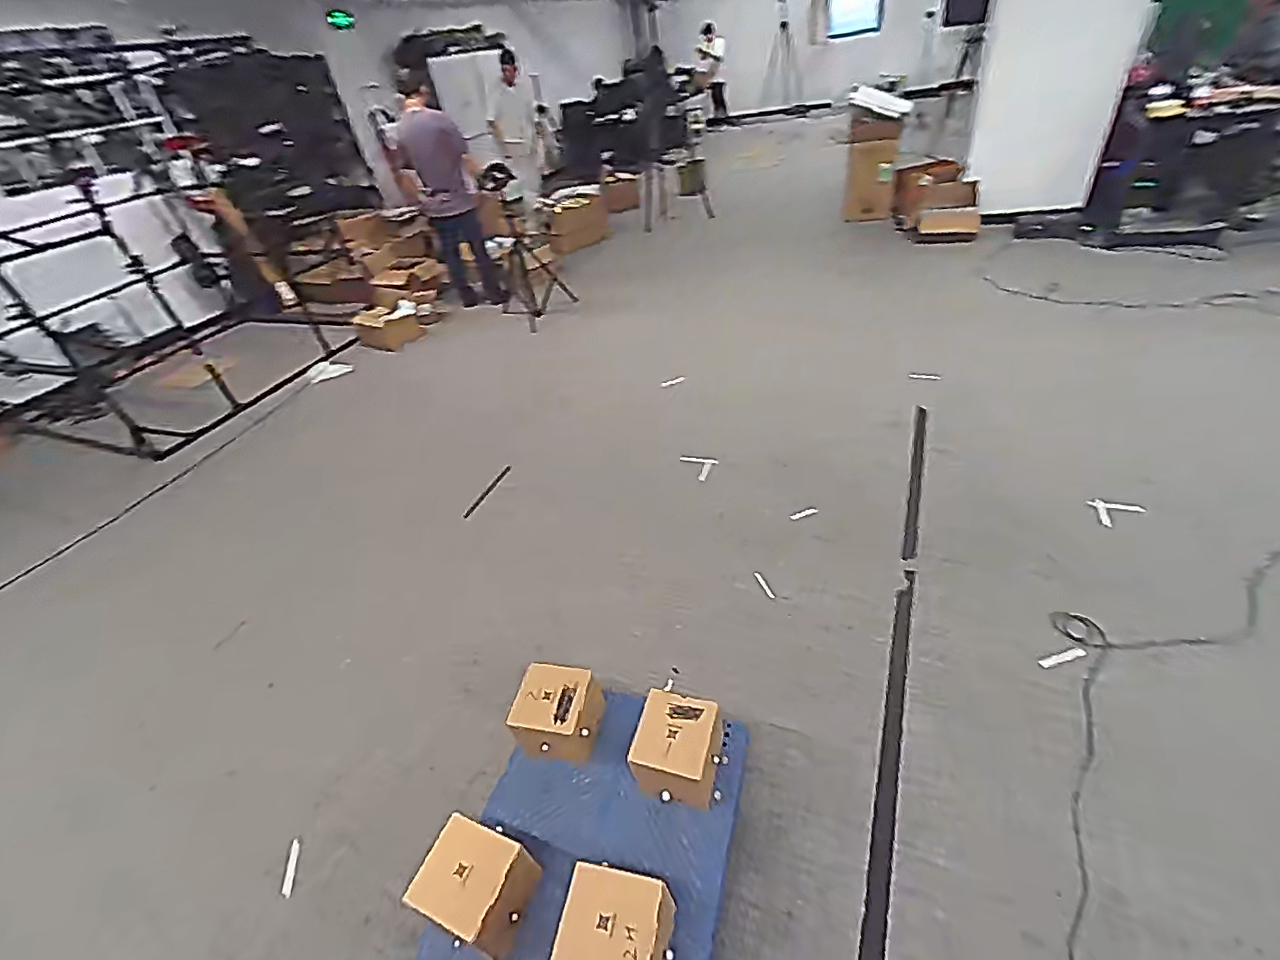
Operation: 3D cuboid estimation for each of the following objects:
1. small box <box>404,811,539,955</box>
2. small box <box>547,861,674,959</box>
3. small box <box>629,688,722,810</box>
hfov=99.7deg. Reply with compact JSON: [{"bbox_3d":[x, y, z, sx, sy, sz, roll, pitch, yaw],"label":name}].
[{"bbox_3d":[-0.334,0.823,1.104,0.179,0.176,0.168,10,42,23],"label":"small box"},{"bbox_3d":[-0.046,0.844,1.000,0.179,0.176,0.168,2,40,17],"label":"small box"},{"bbox_3d":[0.091,0.619,1.246,0.168,0.176,0.179,6,43,21],"label":"small box"}]
